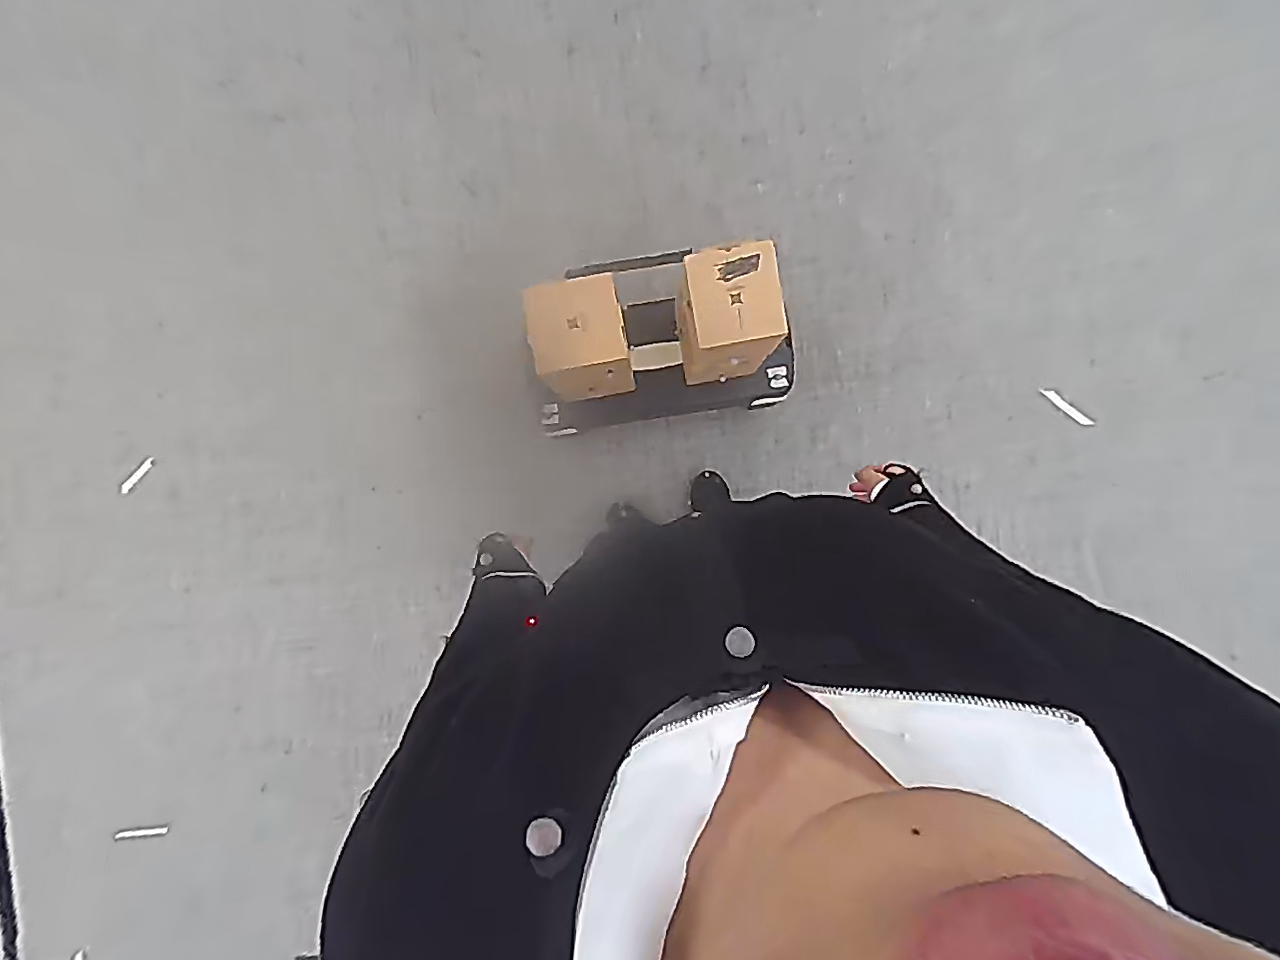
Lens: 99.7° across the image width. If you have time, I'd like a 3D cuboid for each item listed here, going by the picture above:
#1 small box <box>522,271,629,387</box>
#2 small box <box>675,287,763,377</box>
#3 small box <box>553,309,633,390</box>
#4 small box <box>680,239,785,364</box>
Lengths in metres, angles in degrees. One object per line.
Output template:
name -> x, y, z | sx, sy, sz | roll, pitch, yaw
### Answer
small box -> -0.120, -0.292, 1.078 | 0.179, 0.176, 0.168 | -11, 88, 2
small box -> 0.172, -0.338, 1.232 | 0.168, 0.176, 0.179 | -10, 90, 3
small box -> -0.114, -0.293, 1.242 | 0.179, 0.176, 0.168 | -11, 90, 2
small box -> 0.175, -0.343, 1.068 | 0.168, 0.176, 0.179 | -10, 90, 2
